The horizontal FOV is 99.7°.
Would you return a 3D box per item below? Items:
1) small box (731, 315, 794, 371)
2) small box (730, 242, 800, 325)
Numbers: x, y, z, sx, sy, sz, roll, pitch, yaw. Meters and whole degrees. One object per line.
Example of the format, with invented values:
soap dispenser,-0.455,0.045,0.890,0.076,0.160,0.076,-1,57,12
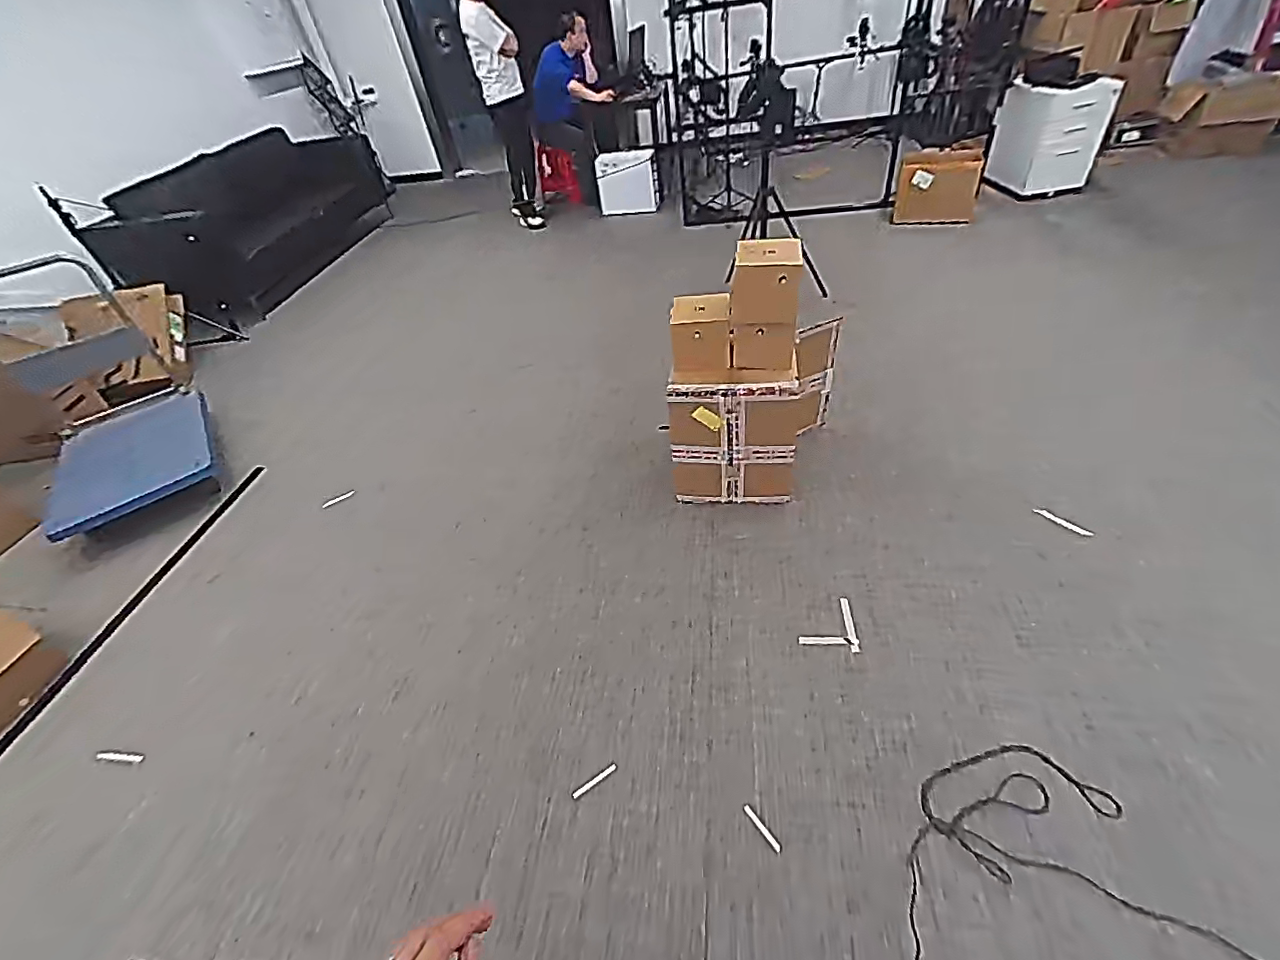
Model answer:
small box,0.372,-0.445,1.639,0.179,0.176,0.168,5,46,13
small box,0.346,-0.545,1.509,0.179,0.176,0.168,2,45,11
